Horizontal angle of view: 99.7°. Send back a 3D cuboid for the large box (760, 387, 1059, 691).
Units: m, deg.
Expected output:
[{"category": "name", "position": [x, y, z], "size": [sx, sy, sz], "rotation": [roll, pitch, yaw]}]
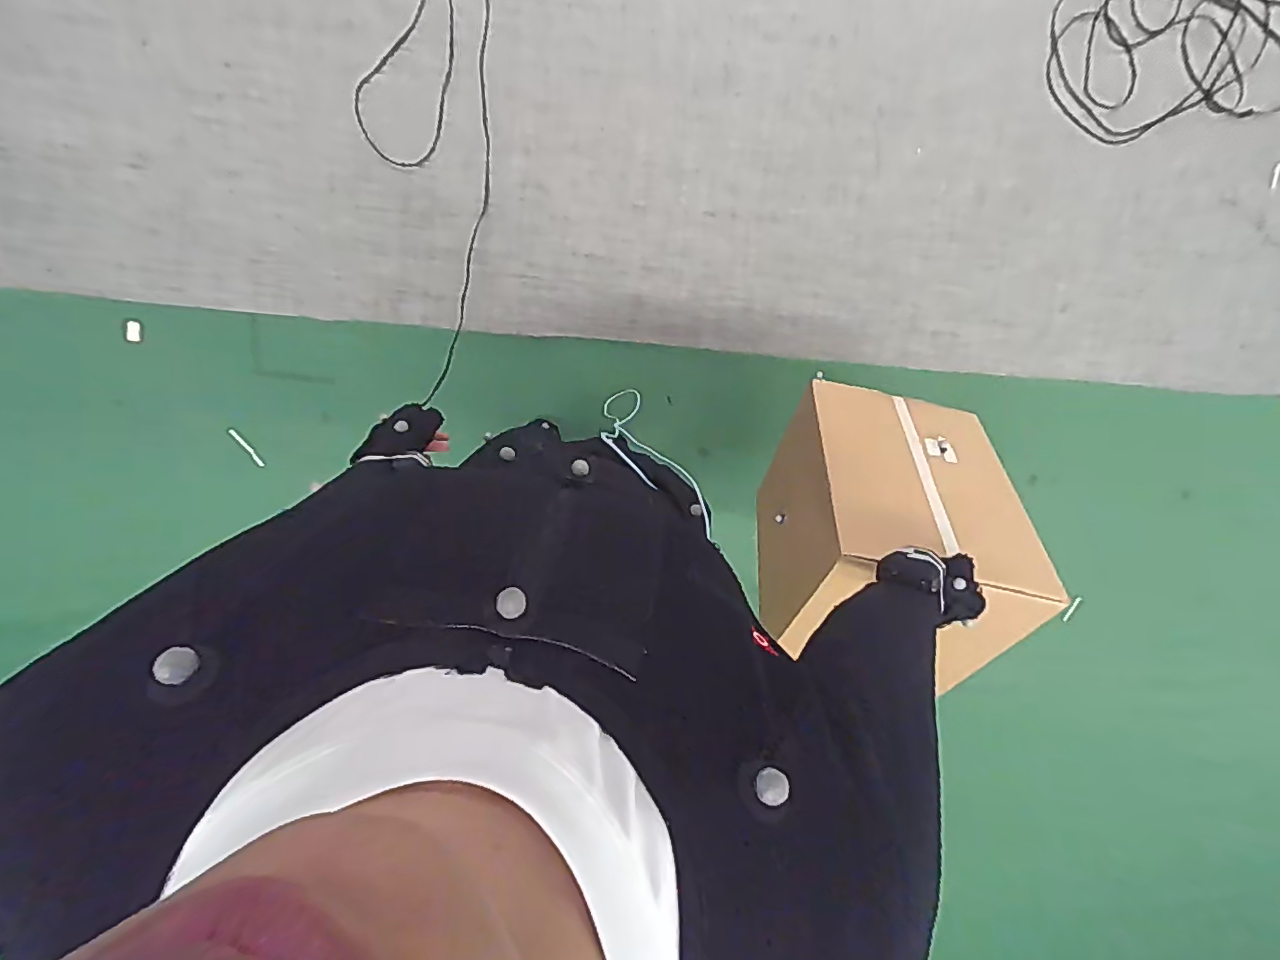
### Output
[{"category": "large box", "position": [0.411, 0.100, 0.958], "size": [0.320, 0.408, 0.320], "rotation": [13, 134, -2]}]
